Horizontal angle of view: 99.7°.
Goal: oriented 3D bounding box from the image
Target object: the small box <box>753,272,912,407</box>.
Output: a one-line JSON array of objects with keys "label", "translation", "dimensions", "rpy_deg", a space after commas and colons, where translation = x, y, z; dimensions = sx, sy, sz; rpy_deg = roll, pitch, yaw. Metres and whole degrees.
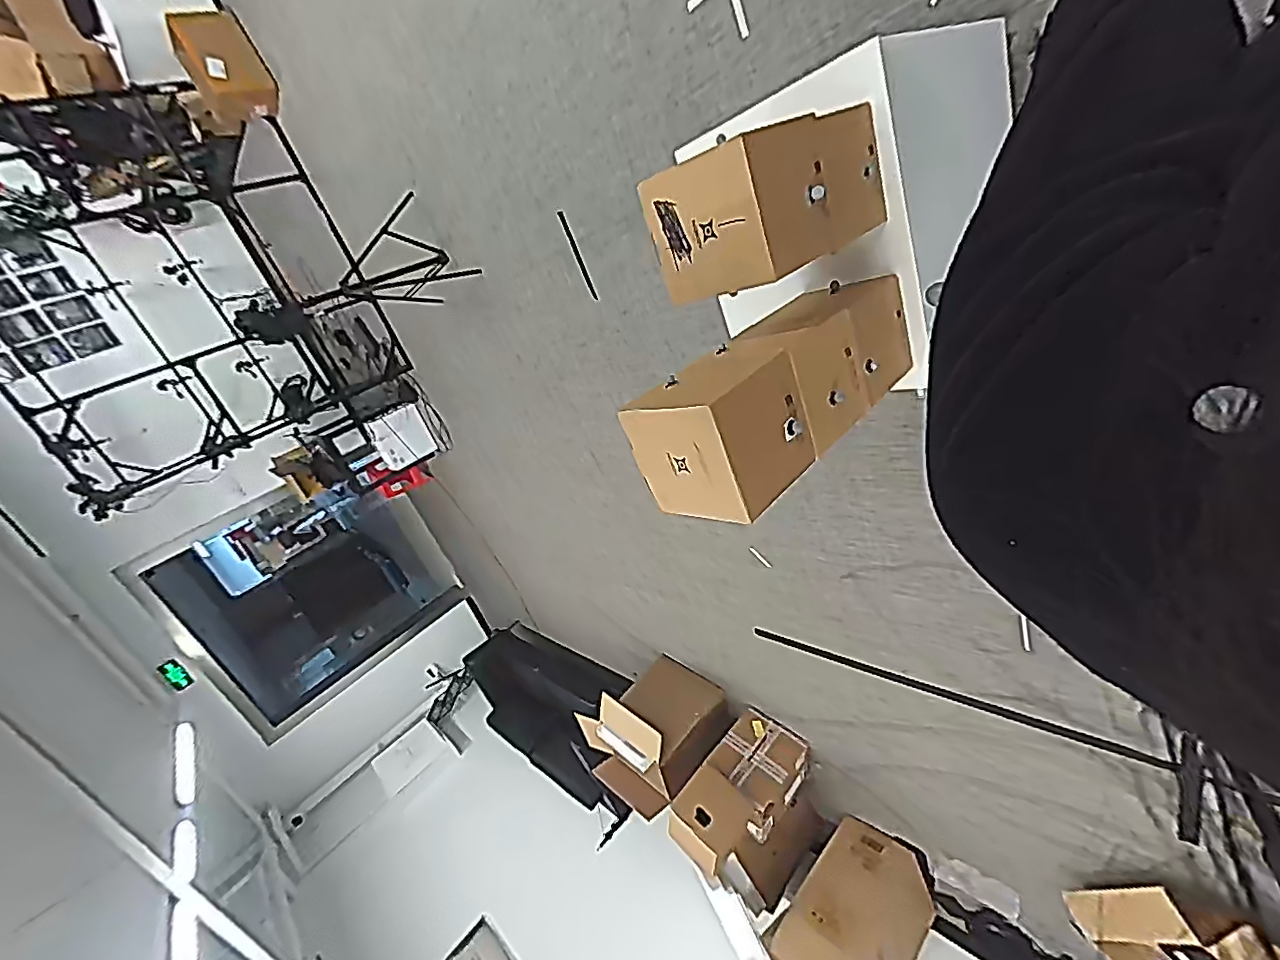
[{"label": "small box", "translation": [0.325, -0.232, 0.910], "dimensions": [0.179, 0.176, 0.168], "rpy_deg": [7, 126, 50]}]

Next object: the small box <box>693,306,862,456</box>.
[{"label": "small box", "translation": [0.216, -0.149, 0.822], "dimensions": [0.179, 0.176, 0.168], "rpy_deg": [5, 125, 51]}]

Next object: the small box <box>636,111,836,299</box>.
[{"label": "small box", "translation": [0.131, -0.360, 0.721], "dimensions": [0.179, 0.176, 0.168], "rpy_deg": [8, 128, 48]}]

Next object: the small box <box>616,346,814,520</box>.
[{"label": "small box", "translation": [0.104, -0.067, 0.737], "dimensions": [0.179, 0.176, 0.168], "rpy_deg": [4, 125, 50]}]
